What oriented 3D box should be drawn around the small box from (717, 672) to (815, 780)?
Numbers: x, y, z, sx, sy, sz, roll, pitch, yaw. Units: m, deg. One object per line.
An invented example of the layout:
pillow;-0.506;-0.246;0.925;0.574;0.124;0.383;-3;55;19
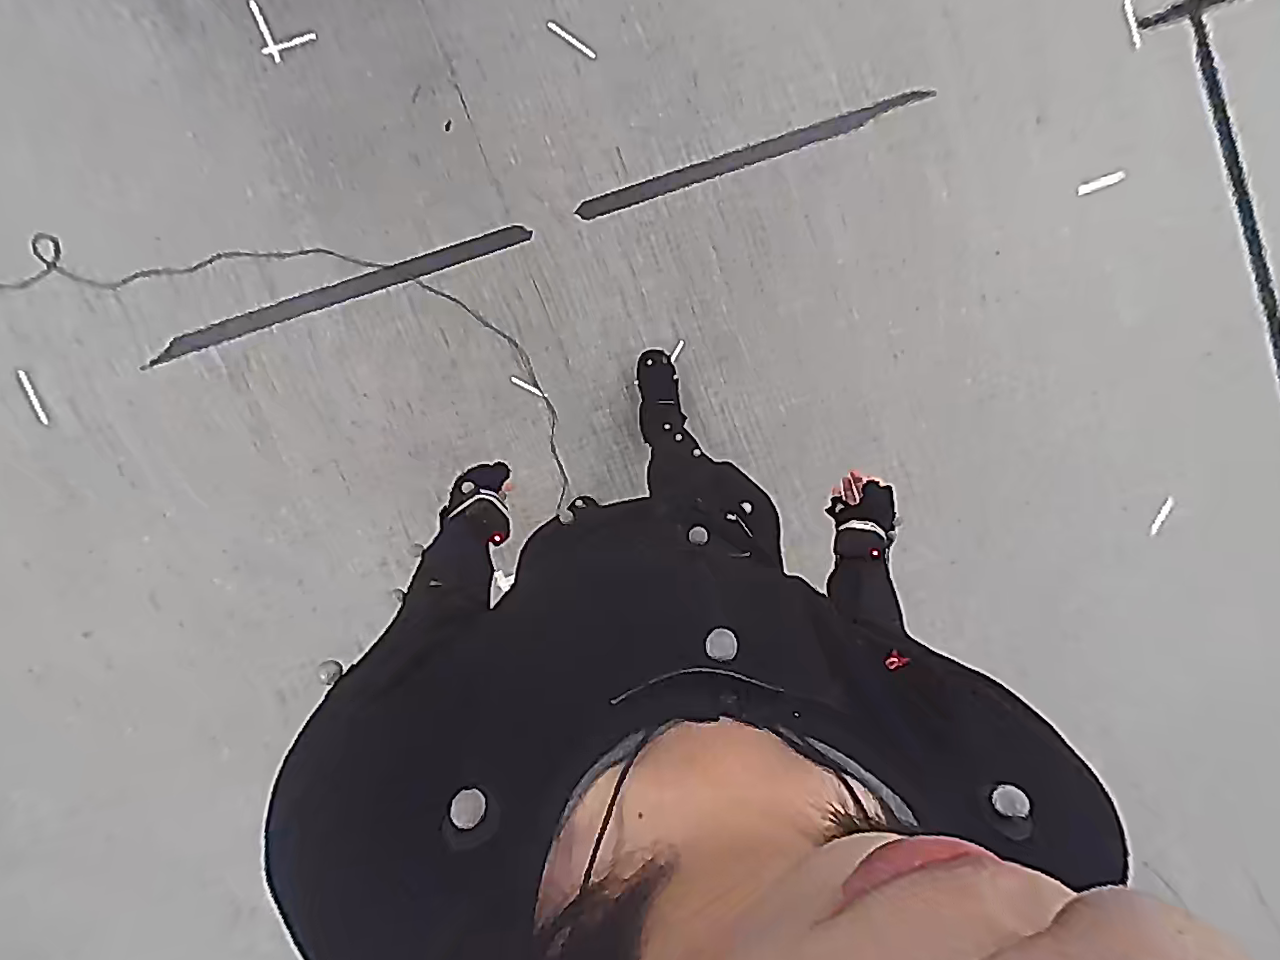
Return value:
small box;0.340;0.665;1.488;0.168;0.176;0.179;-40;95;-2
